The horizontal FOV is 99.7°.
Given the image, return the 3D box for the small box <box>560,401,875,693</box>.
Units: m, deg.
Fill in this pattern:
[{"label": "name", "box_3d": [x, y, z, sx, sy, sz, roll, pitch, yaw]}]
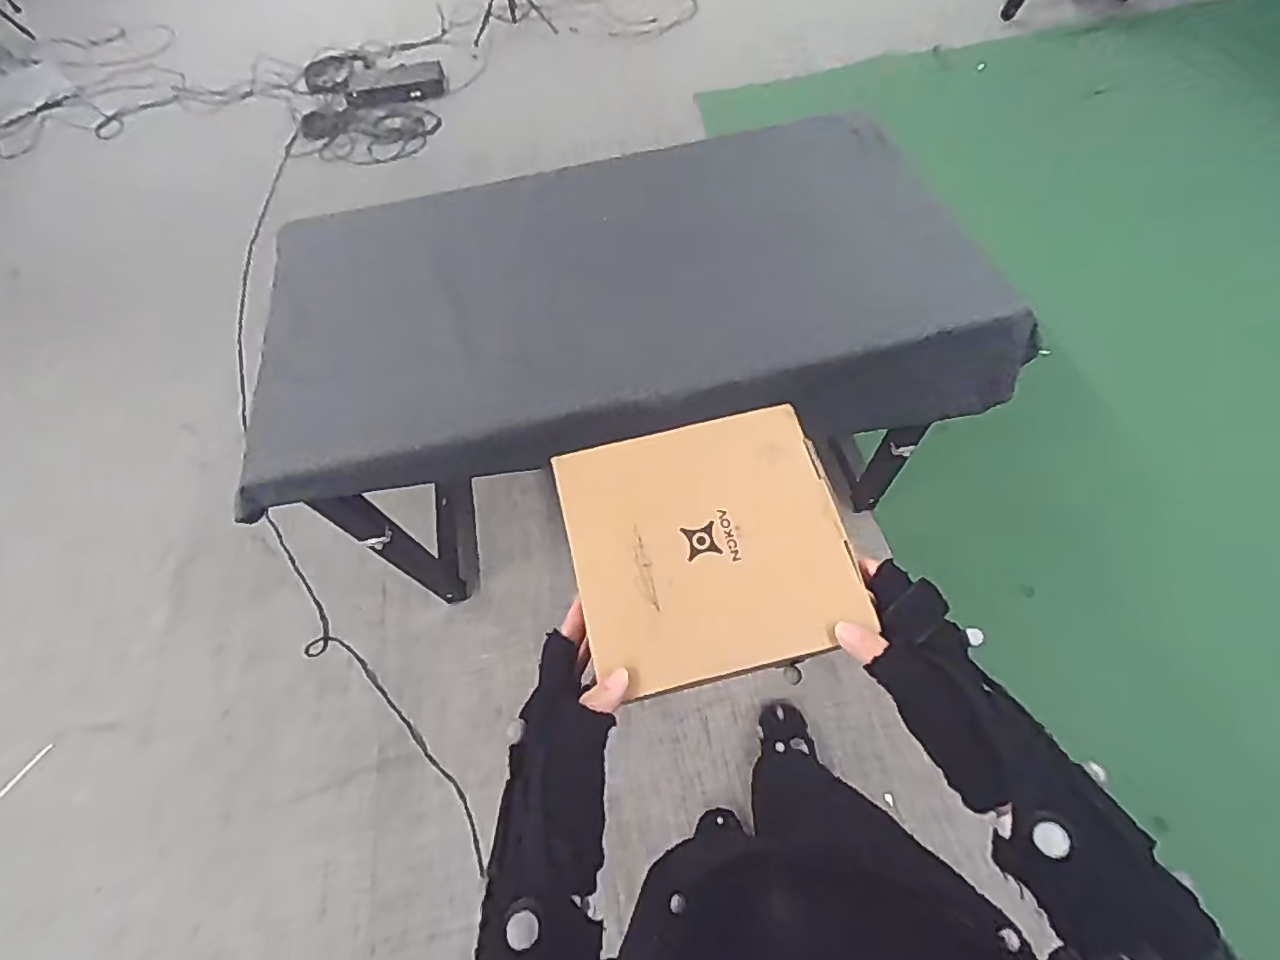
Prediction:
[{"label": "small box", "box_3d": [0.048, 0.064, 0.435, 0.179, 0.176, 0.168, -15, 67, -3]}]
